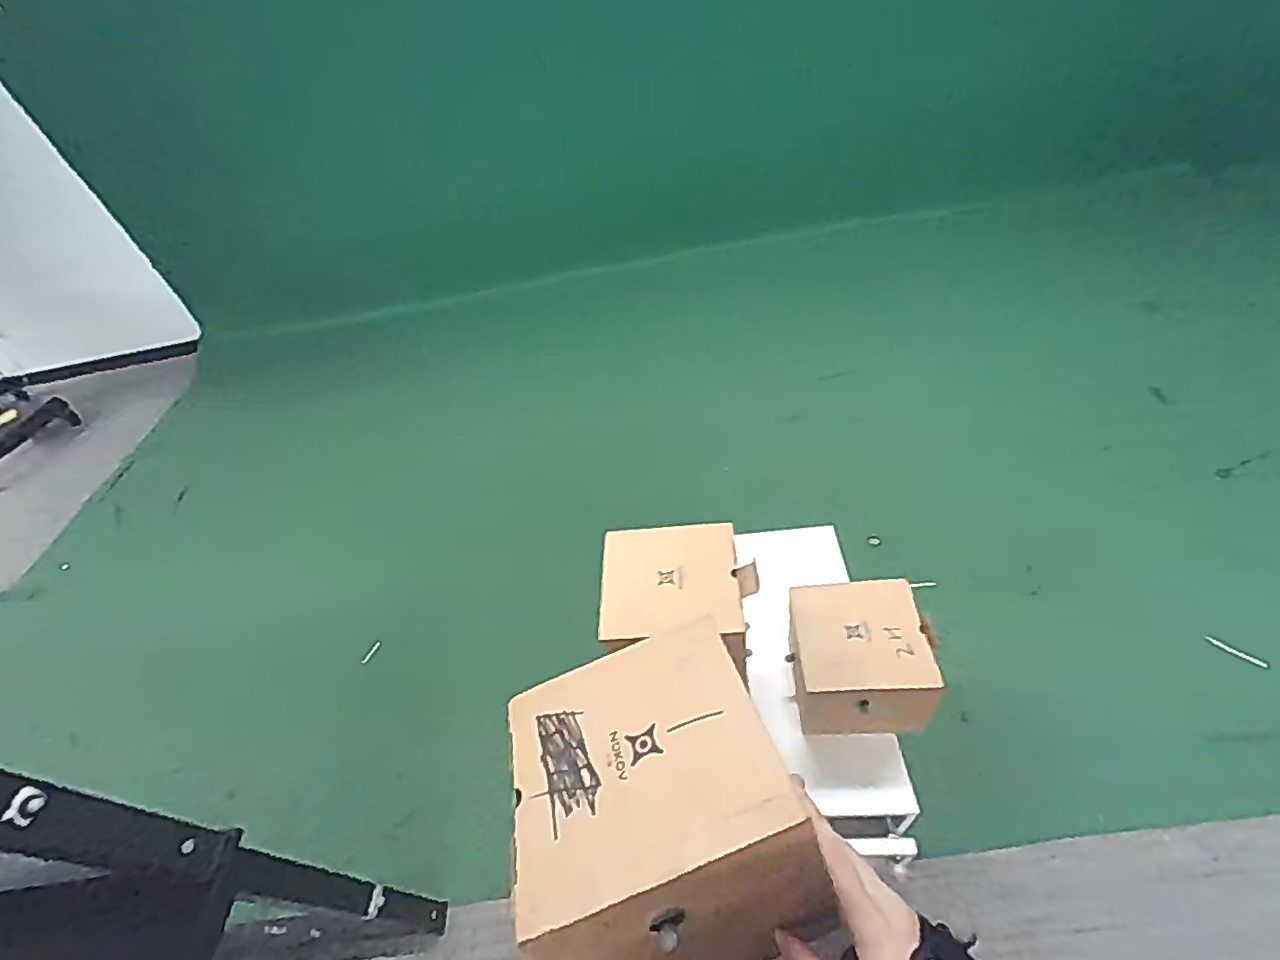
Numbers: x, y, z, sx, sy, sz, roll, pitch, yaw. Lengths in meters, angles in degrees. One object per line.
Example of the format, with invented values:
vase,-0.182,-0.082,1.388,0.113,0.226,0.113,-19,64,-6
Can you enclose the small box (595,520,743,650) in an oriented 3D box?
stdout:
small box,0.045,0.174,0.730,0.179,0.176,0.168,-5,46,6

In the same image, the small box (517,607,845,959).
small box,0.026,0.234,0.396,0.179,0.176,0.168,-22,32,-2

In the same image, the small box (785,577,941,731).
small box,0.317,0.264,0.808,0.179,0.176,0.168,-5,47,9
